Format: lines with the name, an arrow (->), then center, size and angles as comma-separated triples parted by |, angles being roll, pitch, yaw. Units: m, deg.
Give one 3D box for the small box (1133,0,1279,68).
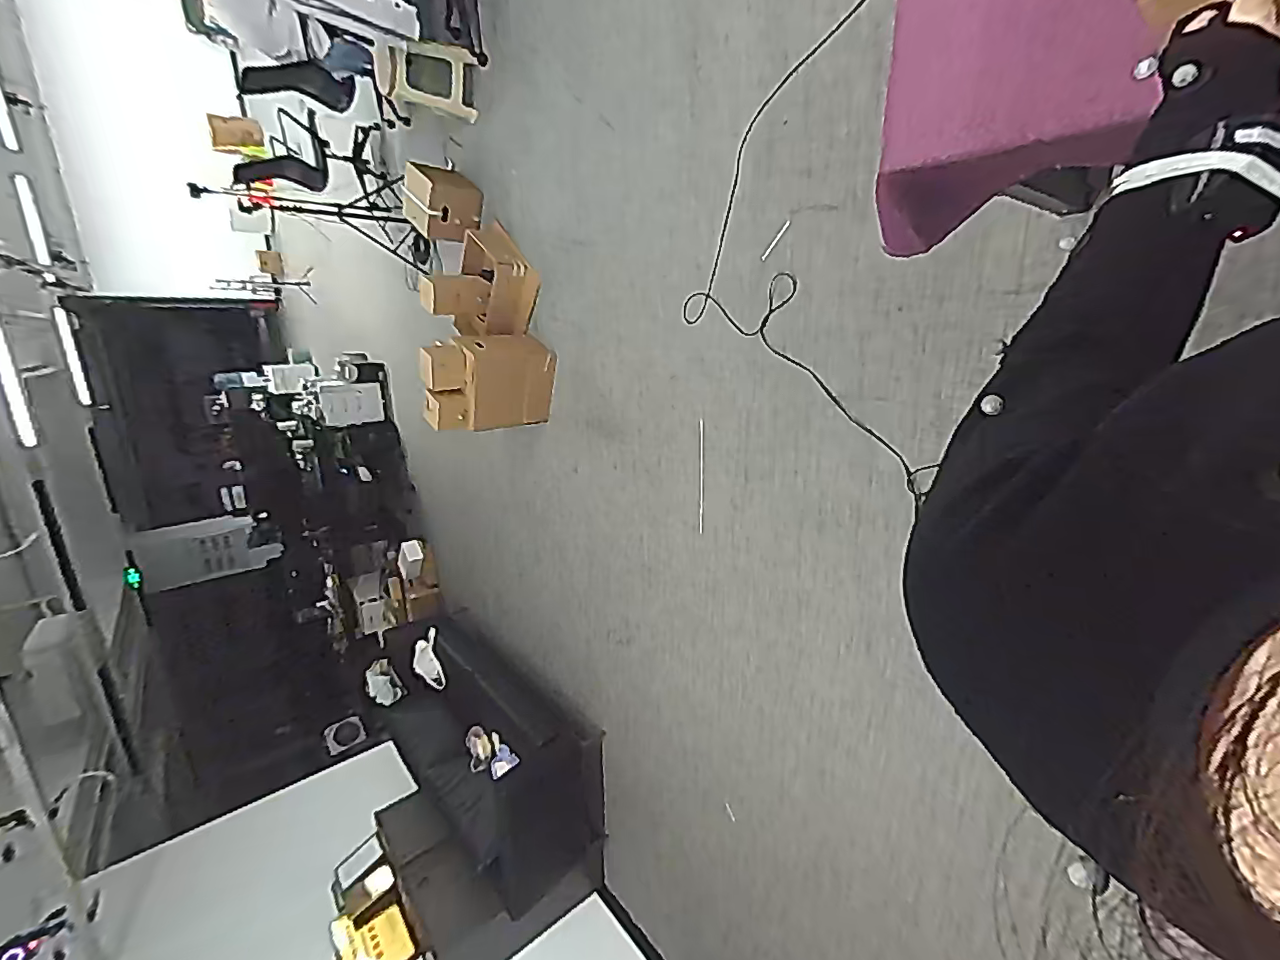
small box -> 0.522, -0.468, 0.420 | 0.168, 0.176, 0.179 | 21, 115, 45
